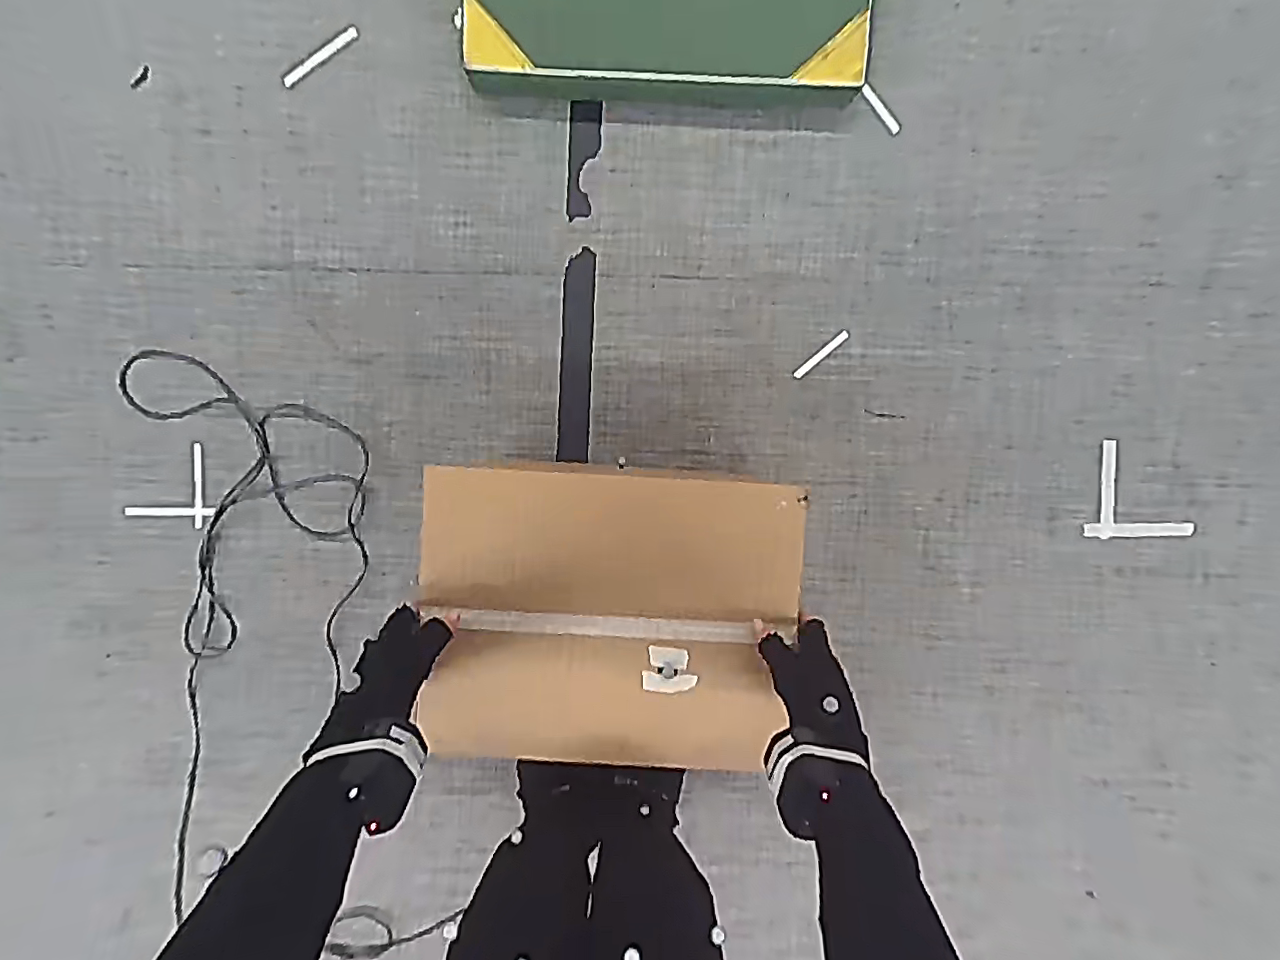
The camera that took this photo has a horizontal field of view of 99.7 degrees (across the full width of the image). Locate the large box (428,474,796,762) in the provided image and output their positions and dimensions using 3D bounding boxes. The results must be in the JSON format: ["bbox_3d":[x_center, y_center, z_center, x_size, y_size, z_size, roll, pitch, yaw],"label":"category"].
[{"bbox_3d":[-0.035,0.152,0.744,0.408,0.320,0.320,3,93,-1],"label":"large box"}]
